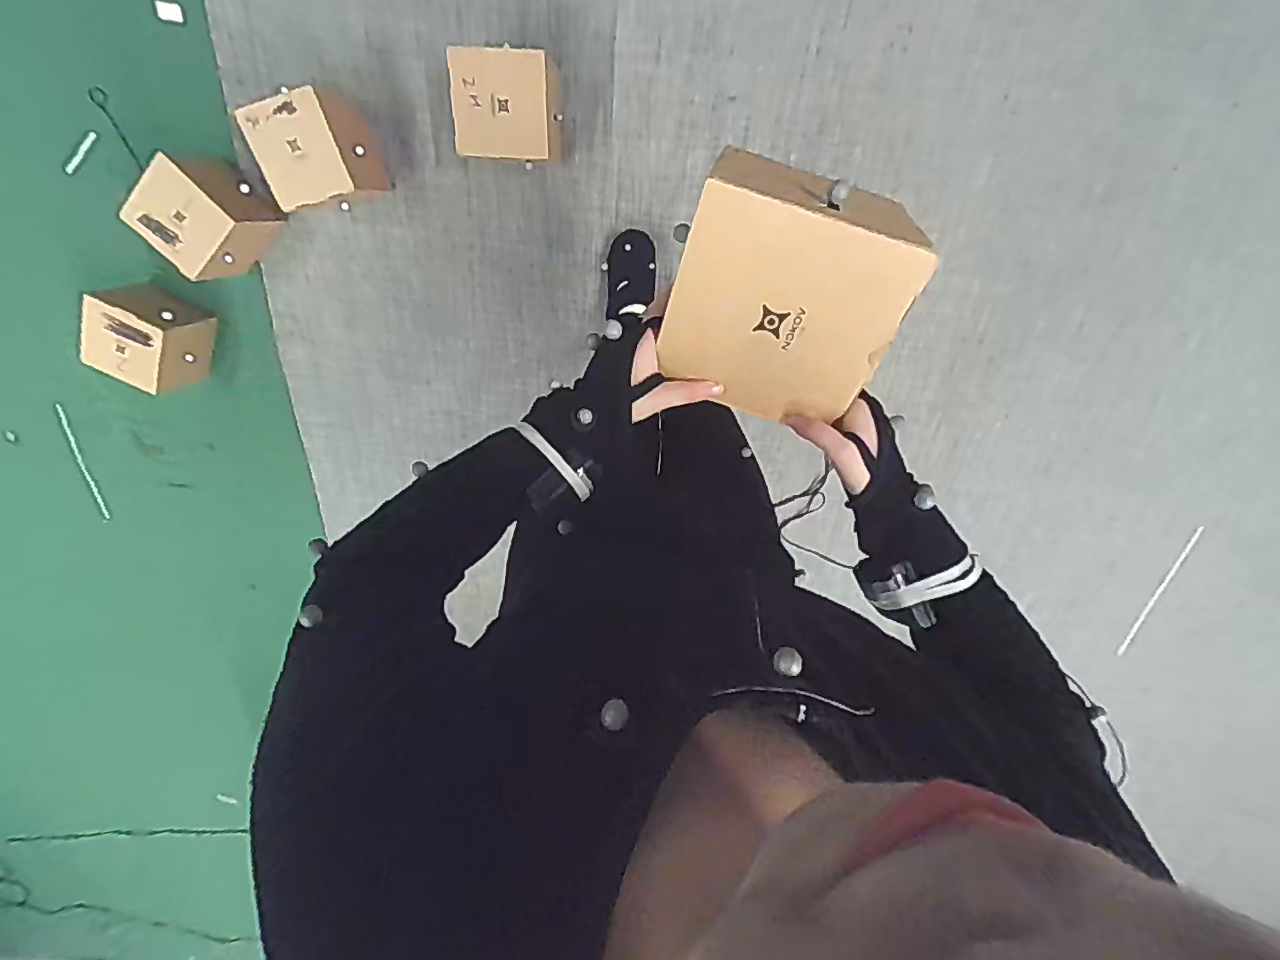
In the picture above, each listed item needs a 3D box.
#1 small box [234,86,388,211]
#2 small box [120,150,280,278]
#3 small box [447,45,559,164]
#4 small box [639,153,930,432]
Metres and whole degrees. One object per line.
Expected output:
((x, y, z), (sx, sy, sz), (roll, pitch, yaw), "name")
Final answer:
((-0.644, -0.658, 1.088), (0.168, 0.176, 0.179), (-11, 117, 8), "small box")
((-0.921, -0.561, 1.150), (0.179, 0.176, 0.168), (-36, 110, 18), "small box")
((-0.252, -0.712, 1.042), (0.179, 0.176, 0.168), (3, 117, 0), "small box")
((0.116, -0.175, 0.487), (0.179, 0.176, 0.168), (18, 129, -1), "small box")
